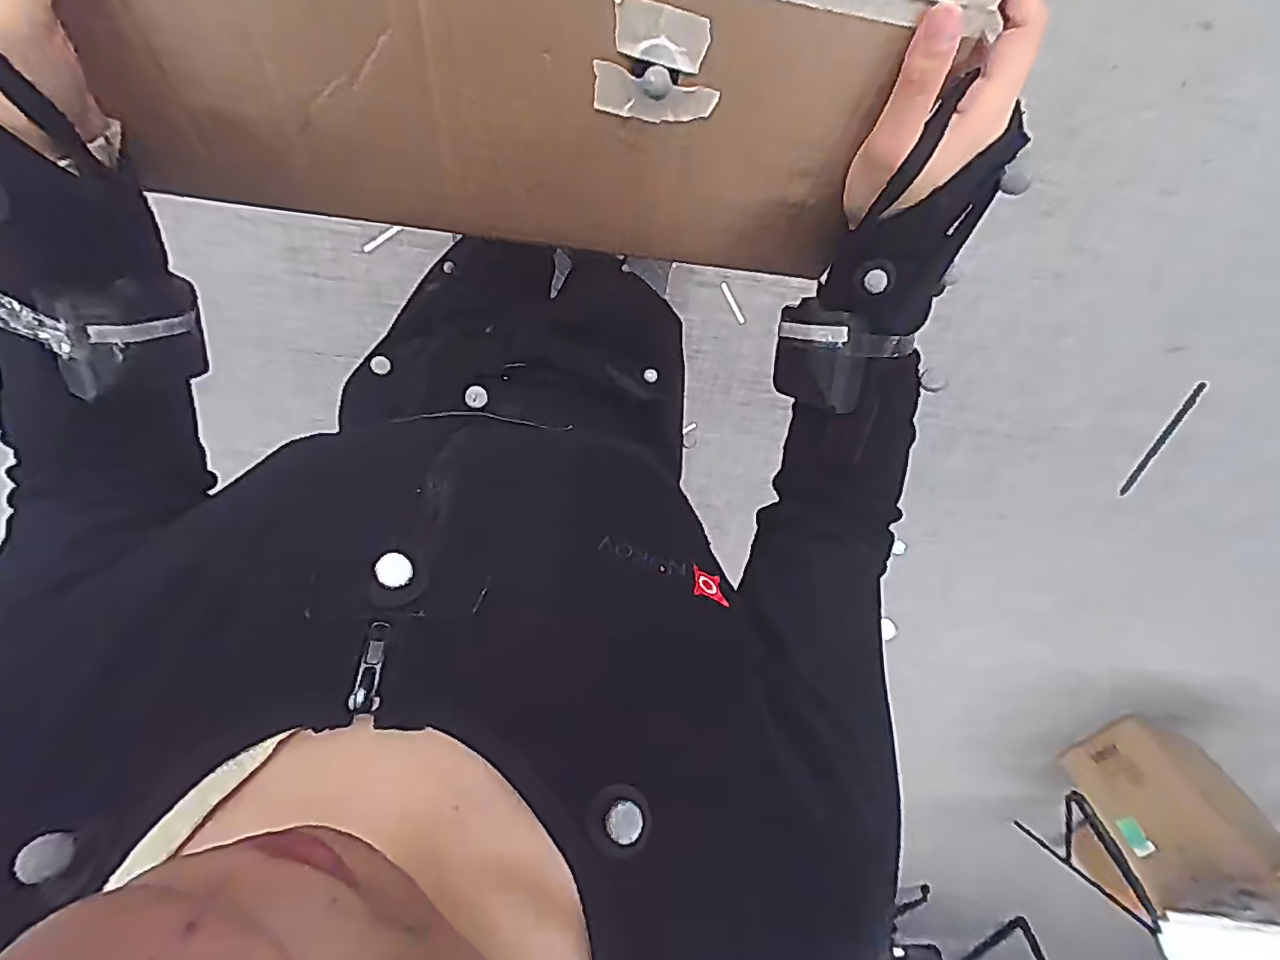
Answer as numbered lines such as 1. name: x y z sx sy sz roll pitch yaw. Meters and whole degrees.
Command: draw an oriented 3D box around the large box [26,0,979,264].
1. large box: -0.055 -0.352 0.265 0.408 0.320 0.320 2 157 -10
